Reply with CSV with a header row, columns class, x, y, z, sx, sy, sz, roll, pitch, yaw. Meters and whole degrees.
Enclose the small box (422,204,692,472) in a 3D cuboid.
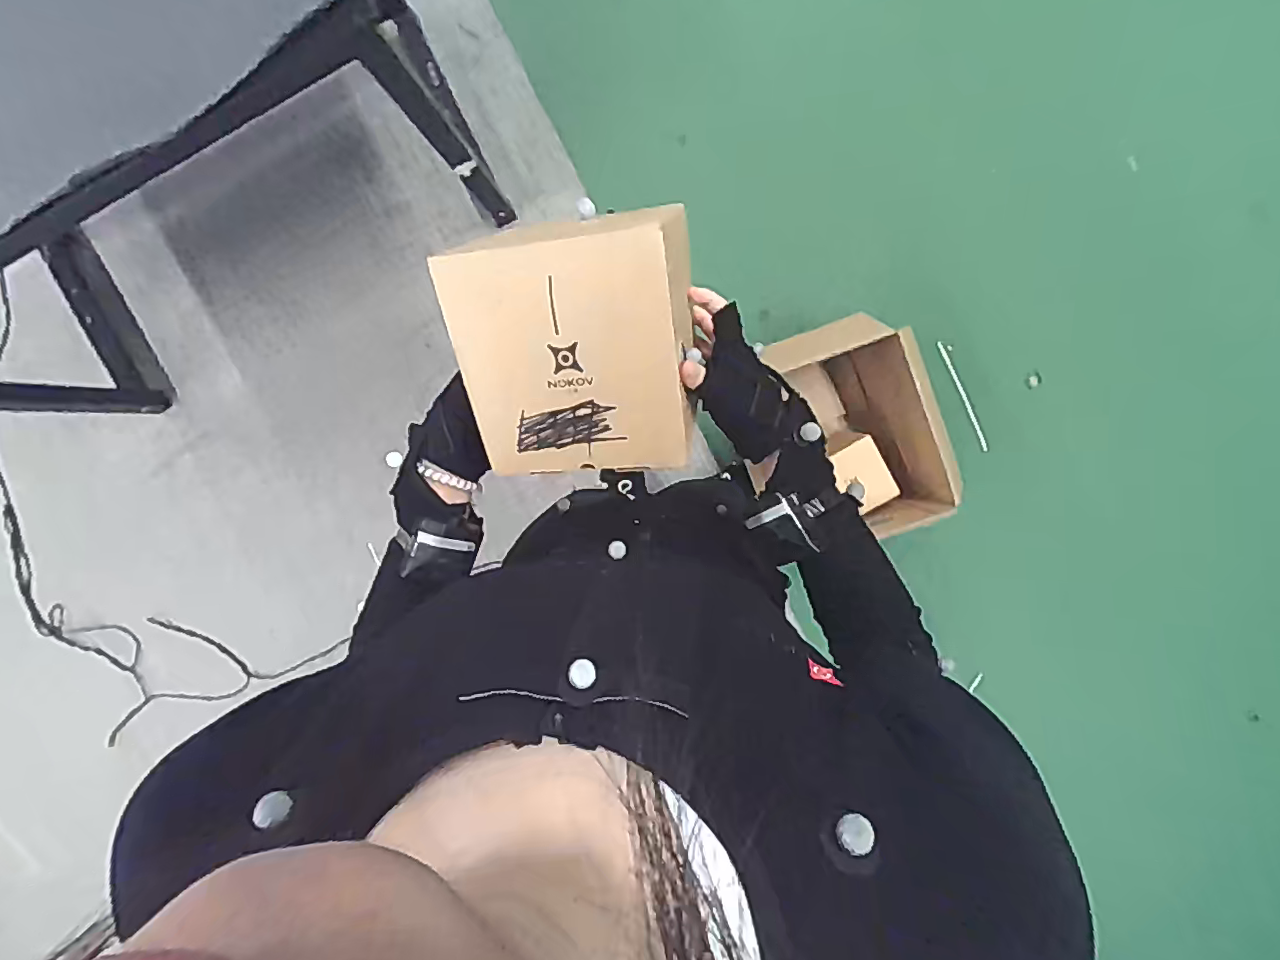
class,x,y,z,sx,sy,sz,roll,pitch,yaw
small box,-0.047,-0.124,0.462,0.168,0.176,0.179,-3,119,11
